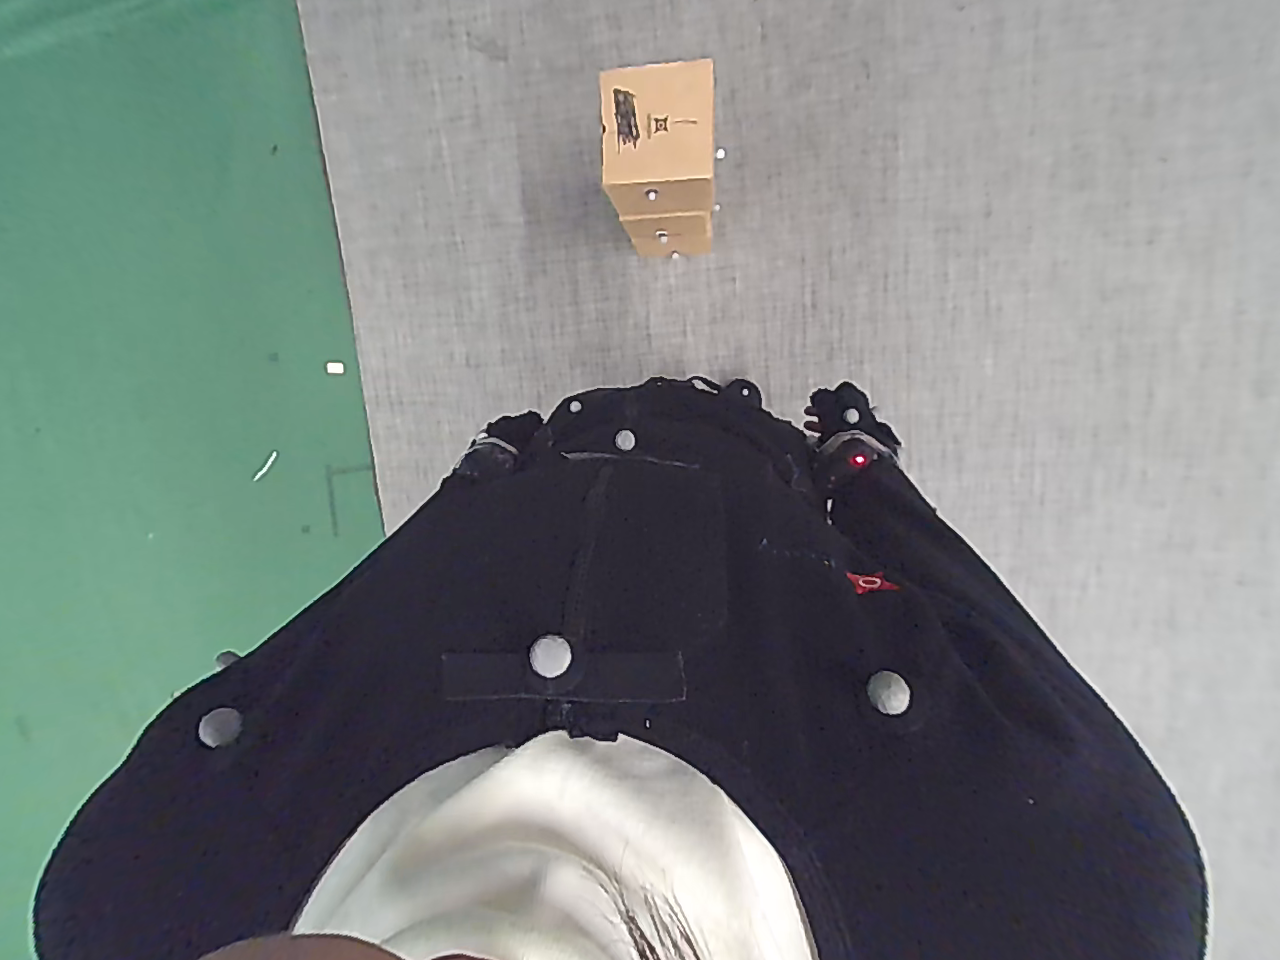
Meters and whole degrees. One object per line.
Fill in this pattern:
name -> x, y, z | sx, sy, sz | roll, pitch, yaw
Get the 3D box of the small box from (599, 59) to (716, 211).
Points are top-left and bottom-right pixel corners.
small box -> 0.036, -0.565, 0.911 | 0.179, 0.176, 0.168 | 1, 101, 9

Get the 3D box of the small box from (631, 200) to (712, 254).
small box -> 0.076, -0.621, 1.231 | 0.179, 0.176, 0.168 | 1, 101, 7

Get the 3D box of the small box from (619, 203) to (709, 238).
small box -> 0.052, -0.596, 1.072 | 0.168, 0.176, 0.179 | 0, 102, 10
